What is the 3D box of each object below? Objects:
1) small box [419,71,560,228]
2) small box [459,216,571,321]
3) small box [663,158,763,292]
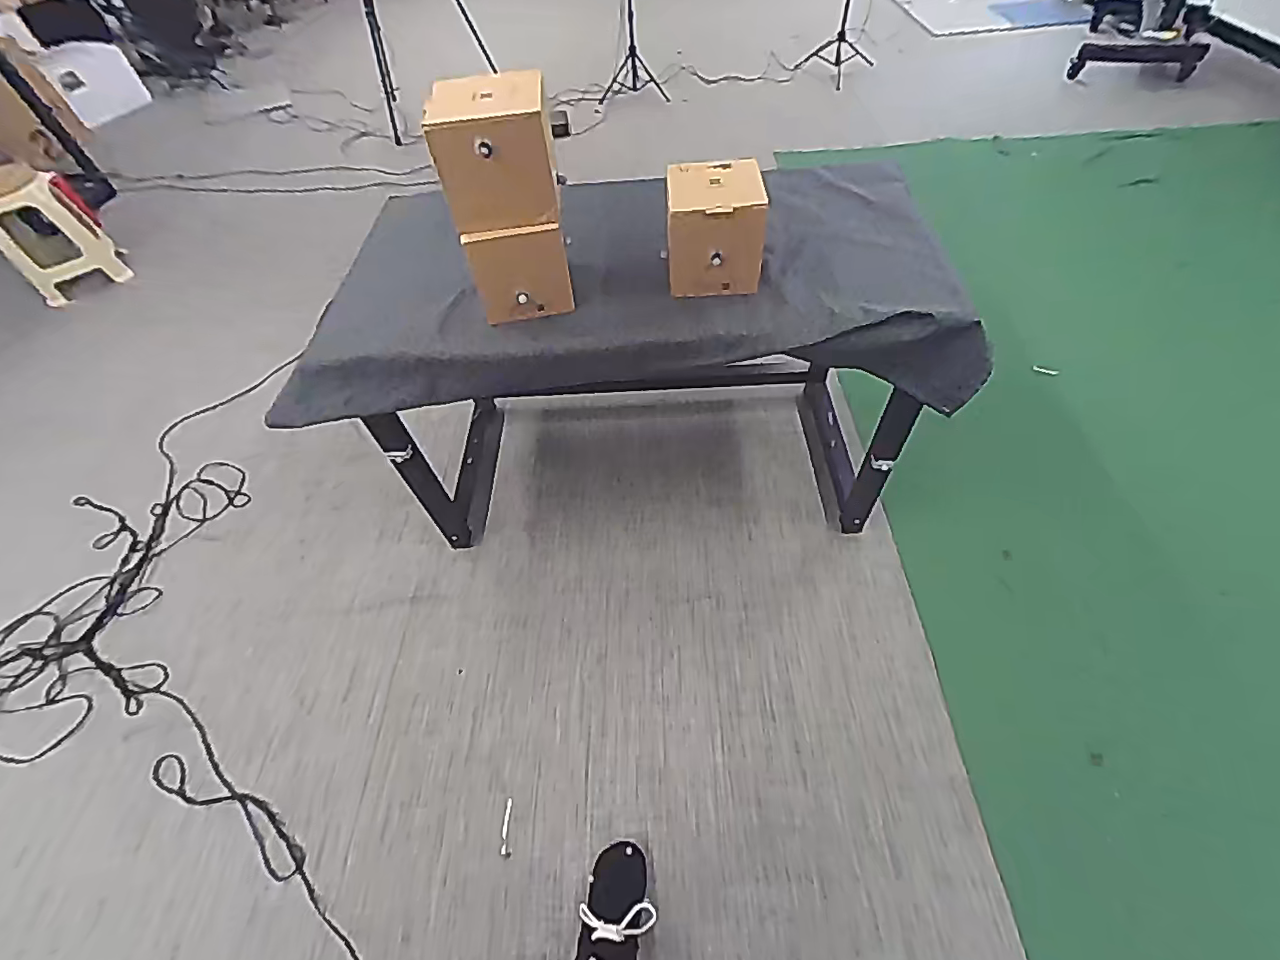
[{"bbox_3d":[-0.233,-0.530,0.879,0.179,0.176,0.168,-7,55,-2],"label":"small box"},{"bbox_3d":[-0.227,-0.422,1.000,0.168,0.176,0.179,-11,54,-4],"label":"small box"},{"bbox_3d":[0.130,-0.468,1.009,0.168,0.176,0.179,-2,54,3],"label":"small box"}]
